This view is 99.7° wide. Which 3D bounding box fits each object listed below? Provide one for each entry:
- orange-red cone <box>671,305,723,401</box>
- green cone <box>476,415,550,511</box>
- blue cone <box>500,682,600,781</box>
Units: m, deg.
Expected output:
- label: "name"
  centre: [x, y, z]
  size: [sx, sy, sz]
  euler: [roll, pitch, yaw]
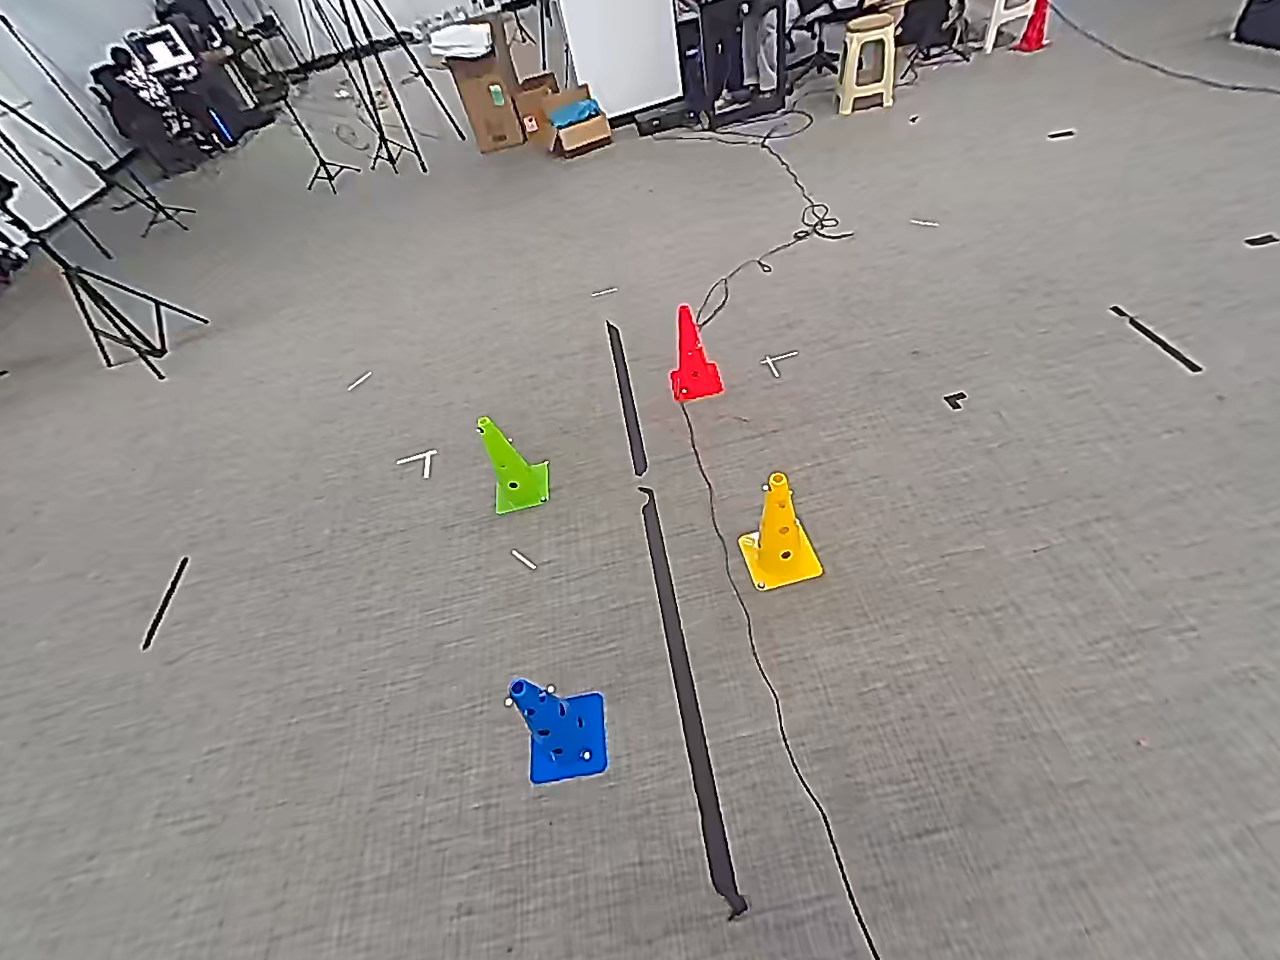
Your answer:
- label: "orange-red cone"
  centre: [0.199, -0.509, 2.076]
  size: [0.199, 0.360, 0.198]
  euler: [-10, 50, 5]
- label: "green cone"
  centre: [-0.472, -0.089, 1.888]
  size: [0.202, 0.368, 0.200]
  euler: [-15, 48, 4]
- label: "blue cone"
  centre: [-0.231, 0.560, 1.283]
  size: [0.192, 0.380, 0.193]
  euler: [-12, 48, 6]
